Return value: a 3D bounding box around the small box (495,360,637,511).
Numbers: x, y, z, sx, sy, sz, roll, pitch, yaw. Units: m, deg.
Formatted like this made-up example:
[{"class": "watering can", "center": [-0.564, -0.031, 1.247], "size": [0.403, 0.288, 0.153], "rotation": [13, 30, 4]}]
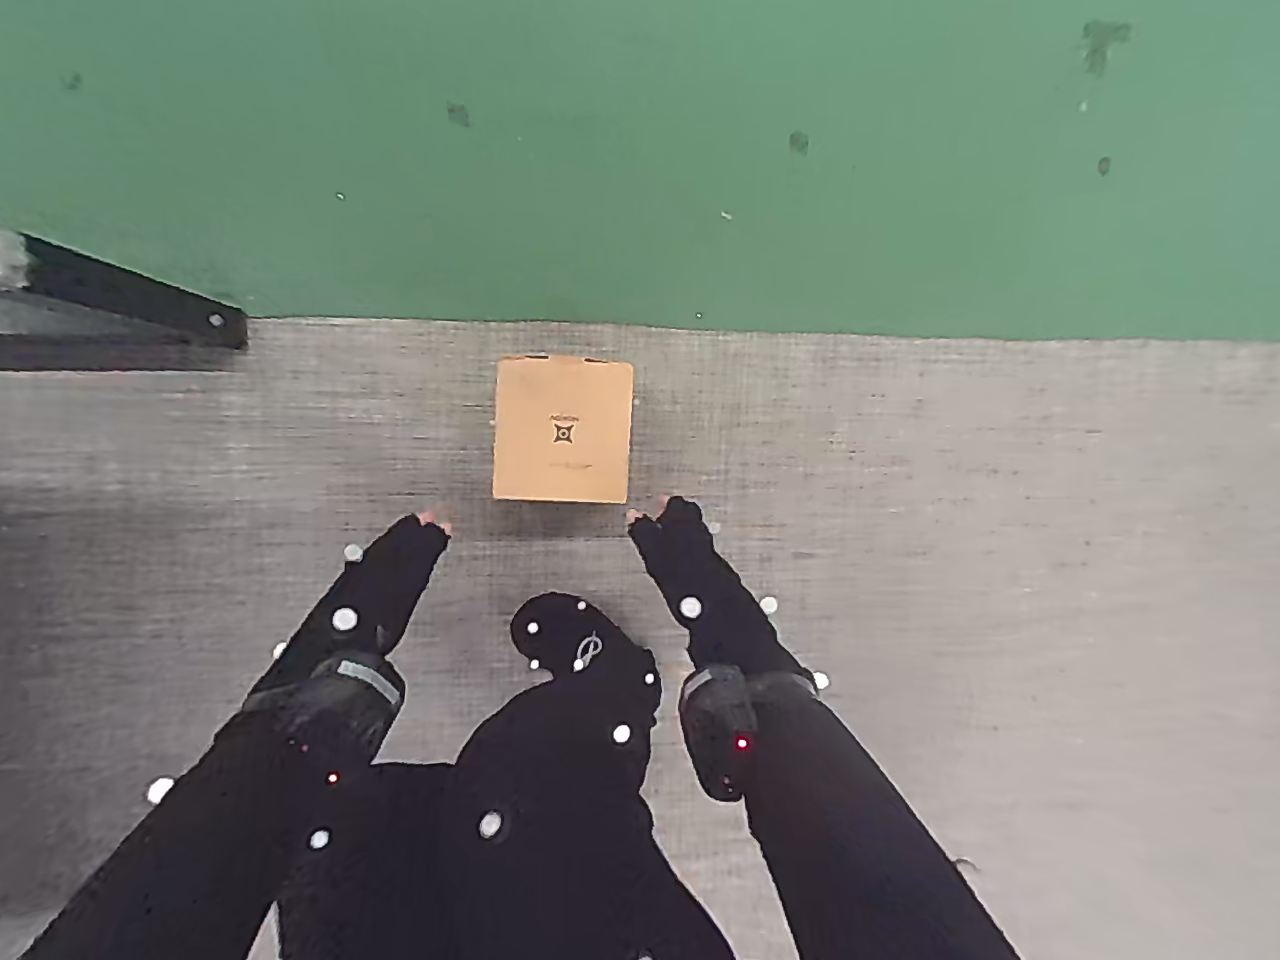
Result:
[{"class": "small box", "center": [-0.097, -0.059, 0.736], "size": [0.168, 0.176, 0.179], "rotation": [3, 95, -5]}]
